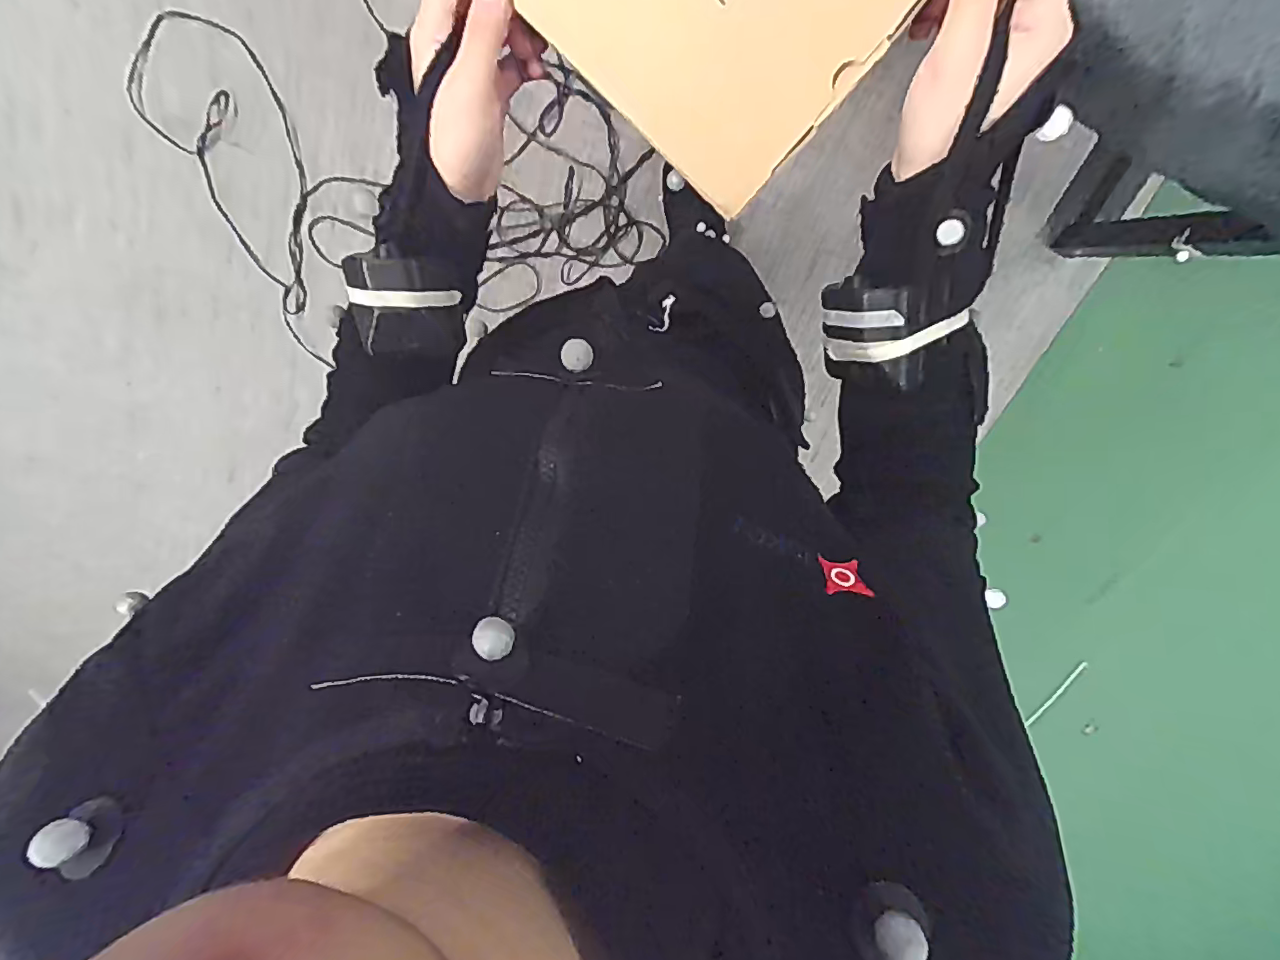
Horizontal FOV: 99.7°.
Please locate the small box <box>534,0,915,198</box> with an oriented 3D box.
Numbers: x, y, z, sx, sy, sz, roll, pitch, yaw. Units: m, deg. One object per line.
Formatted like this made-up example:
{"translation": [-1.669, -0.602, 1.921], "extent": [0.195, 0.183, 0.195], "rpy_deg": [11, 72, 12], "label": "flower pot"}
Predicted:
{"translation": [0.052, -0.298, 0.300], "extent": [0.179, 0.176, 0.168], "rpy_deg": [36, 126, -17], "label": "small box"}
